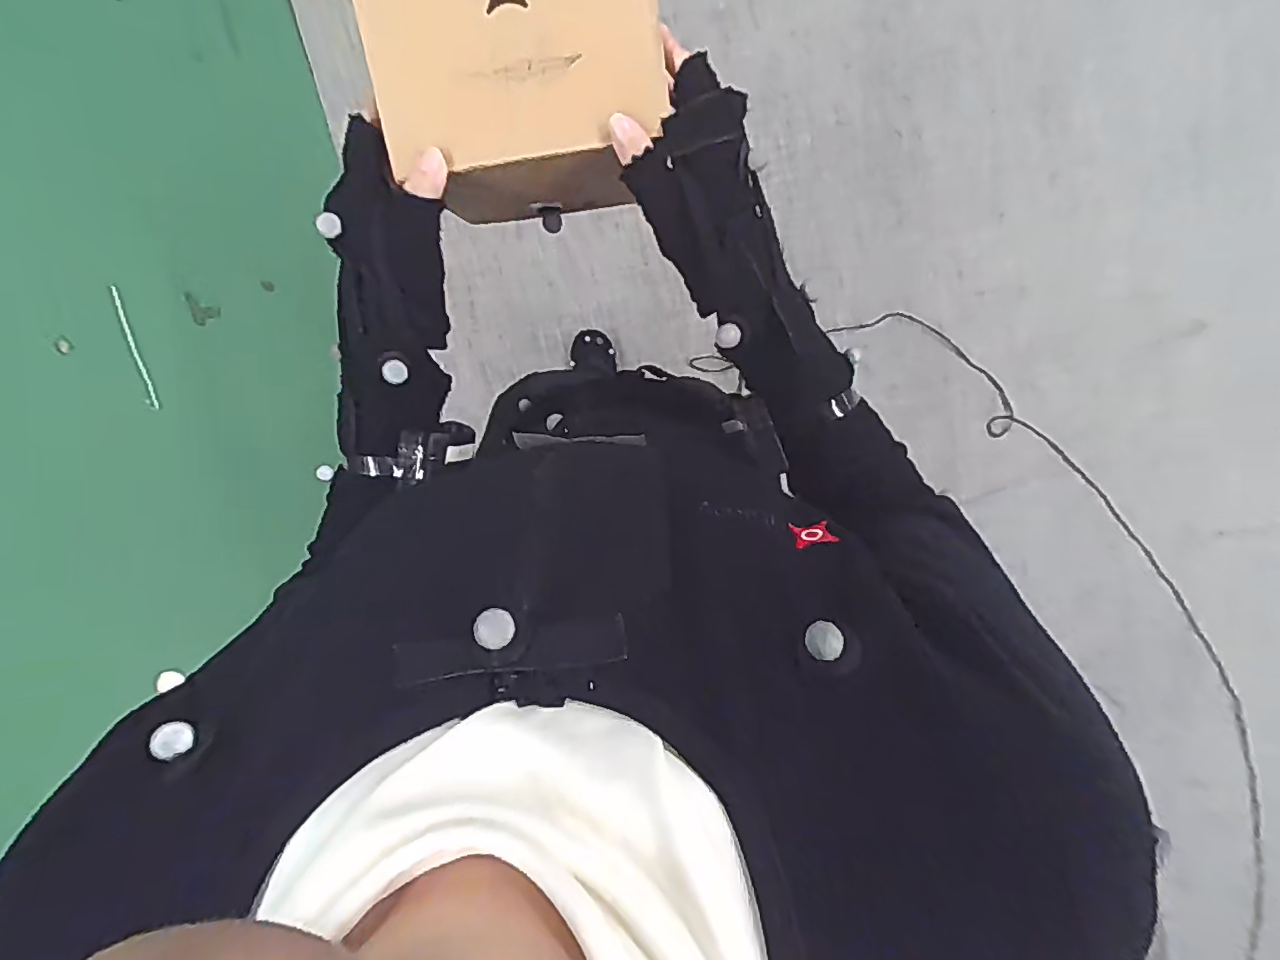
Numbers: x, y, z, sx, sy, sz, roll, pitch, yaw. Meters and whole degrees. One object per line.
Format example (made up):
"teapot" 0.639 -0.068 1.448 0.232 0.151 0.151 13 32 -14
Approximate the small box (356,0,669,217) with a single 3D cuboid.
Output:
"small box" -0.074 -0.296 0.365 0.168 0.176 0.179 -7 107 3
